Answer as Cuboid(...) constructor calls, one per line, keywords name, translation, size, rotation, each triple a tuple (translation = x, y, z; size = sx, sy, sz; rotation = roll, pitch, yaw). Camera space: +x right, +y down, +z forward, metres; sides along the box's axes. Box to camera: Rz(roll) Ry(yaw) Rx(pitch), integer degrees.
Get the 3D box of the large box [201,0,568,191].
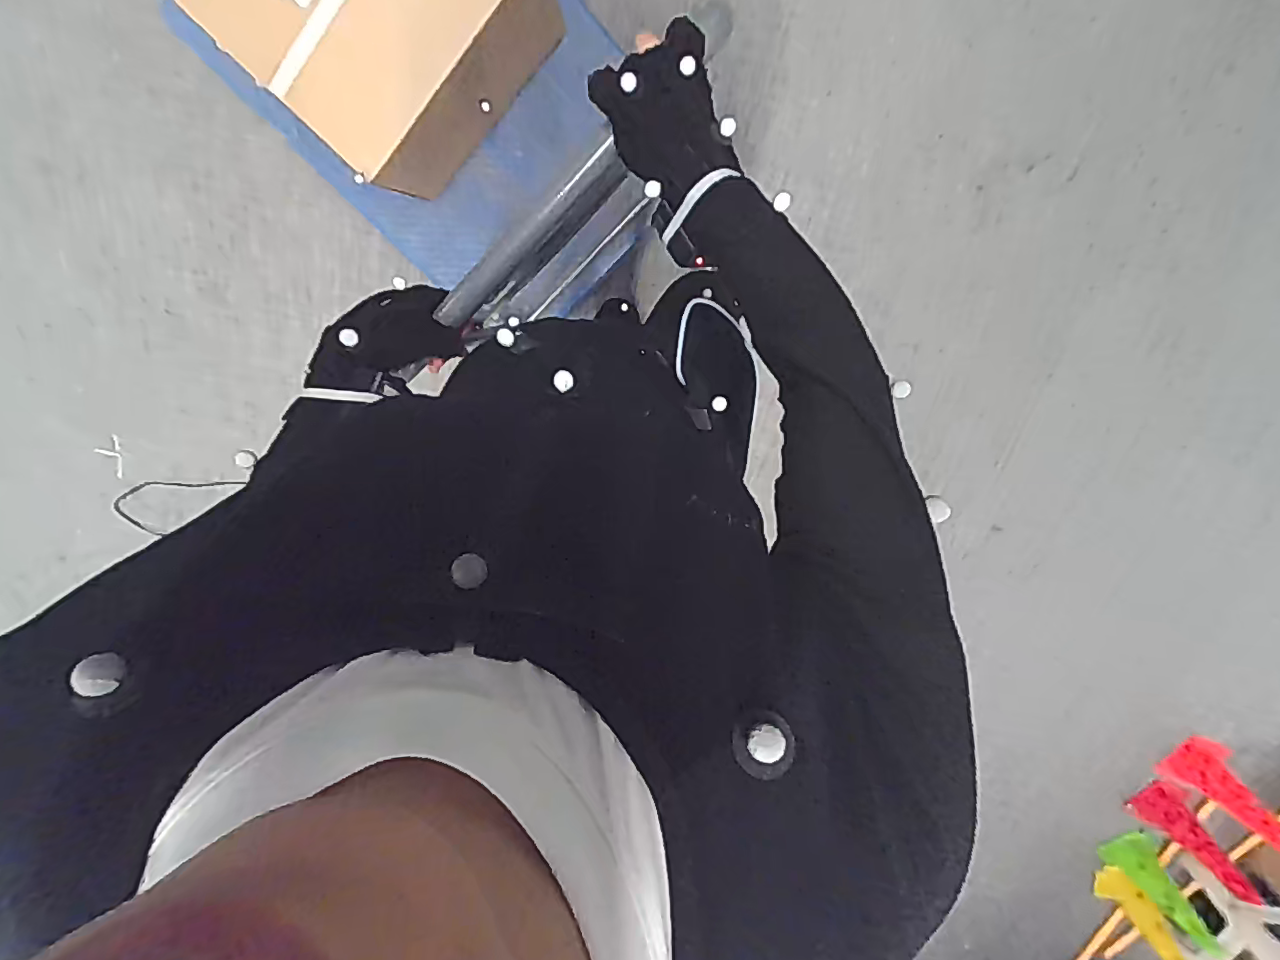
Cuboid(name="large box", translation=(-0.366, -0.753, 0.869), size=(0.320, 0.320, 0.408), rotation=(42, 106, -16))
